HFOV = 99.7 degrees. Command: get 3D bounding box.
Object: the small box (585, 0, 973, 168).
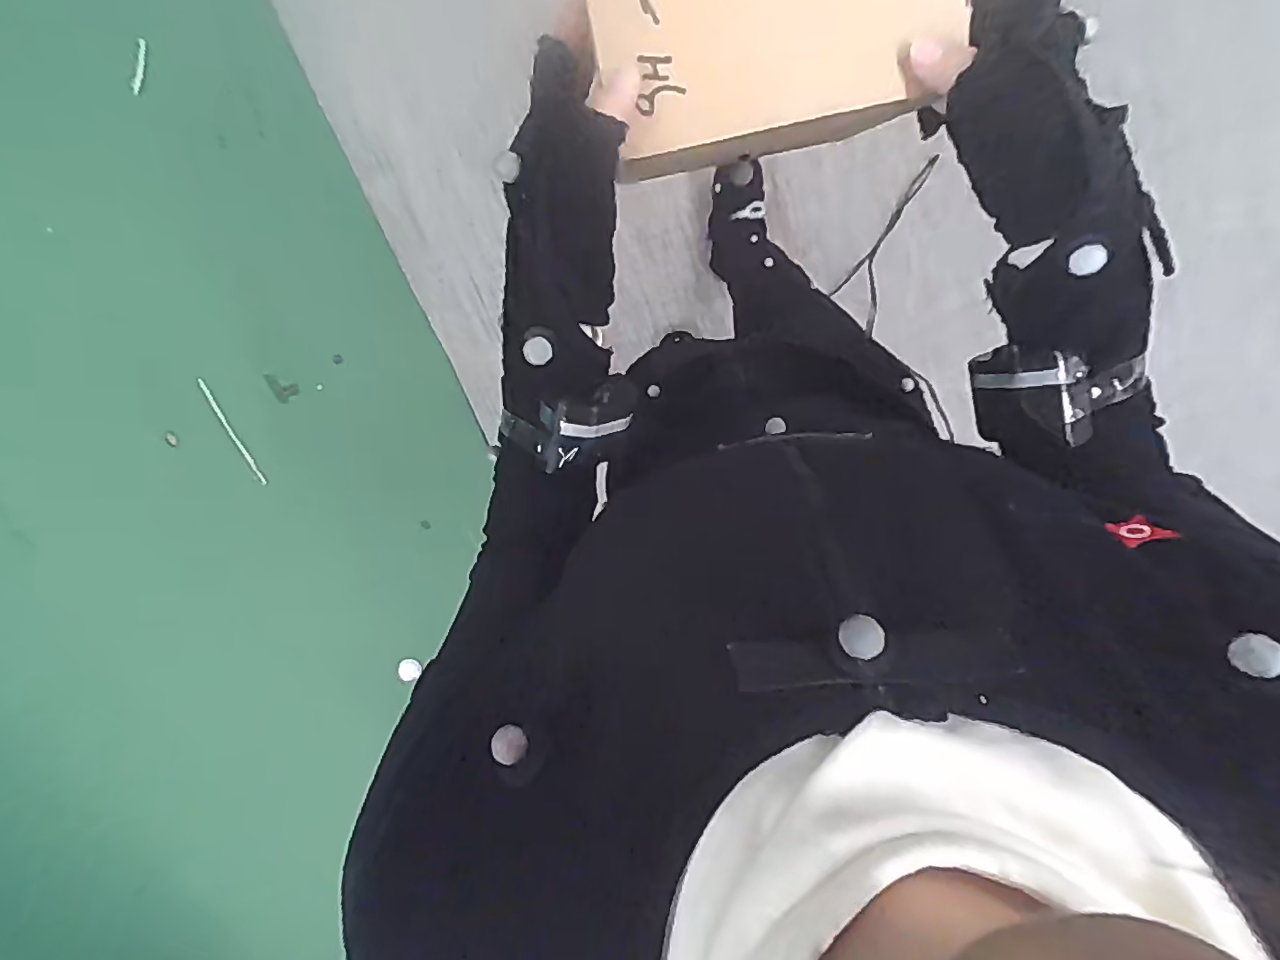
[{"bbox_3d":[0.057,-0.290,0.303,0.179,0.176,0.168,-10,114,2],"label":"small box"}]
